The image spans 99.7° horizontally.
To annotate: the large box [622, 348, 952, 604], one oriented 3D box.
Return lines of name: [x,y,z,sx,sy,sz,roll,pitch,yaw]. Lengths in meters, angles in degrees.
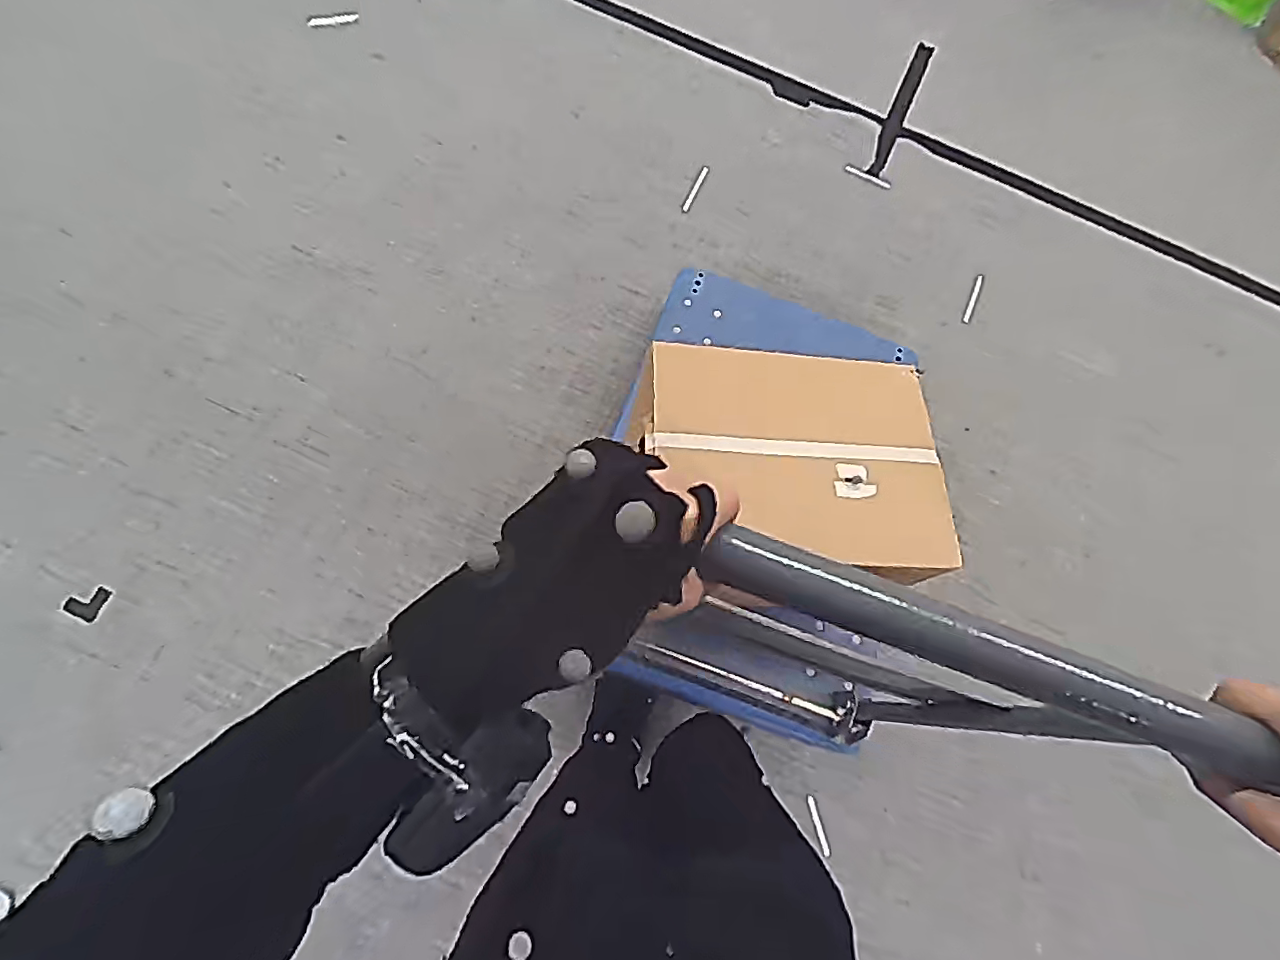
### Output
large box: [0.189,0.018,0.871,0.408,0.320,0.320,3,68,-9]
